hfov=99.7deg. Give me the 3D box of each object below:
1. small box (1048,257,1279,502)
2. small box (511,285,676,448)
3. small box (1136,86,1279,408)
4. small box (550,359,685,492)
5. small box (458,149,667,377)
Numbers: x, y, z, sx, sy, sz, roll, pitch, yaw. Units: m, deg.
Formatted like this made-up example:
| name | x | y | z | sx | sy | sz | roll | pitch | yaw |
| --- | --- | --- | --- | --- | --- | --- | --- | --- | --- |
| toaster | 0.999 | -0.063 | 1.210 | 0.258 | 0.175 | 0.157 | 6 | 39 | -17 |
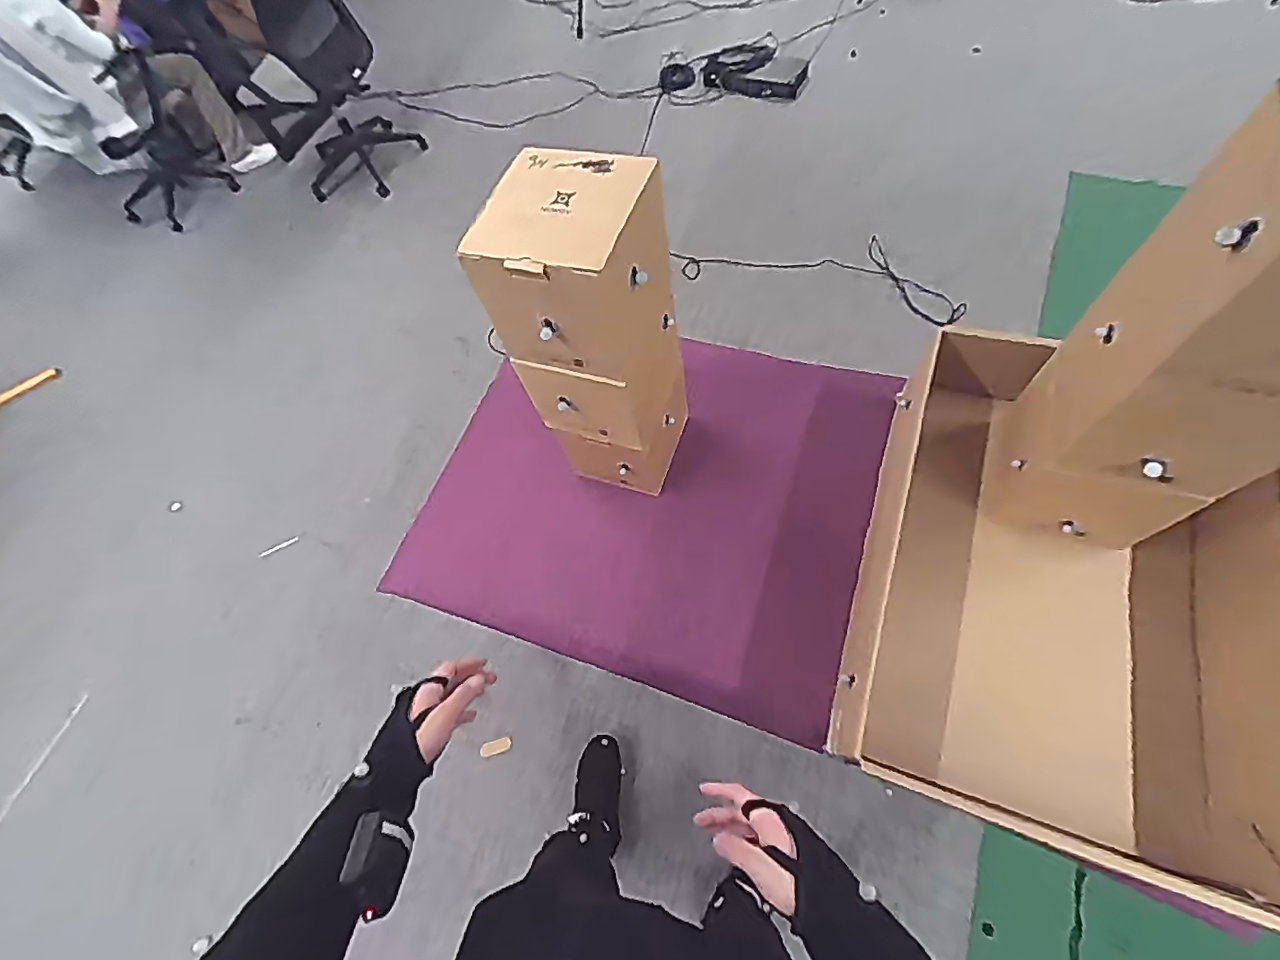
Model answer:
| name | x | y | z | sx | sy | sz | roll | pitch | yaw |
| --- | --- | --- | --- | --- | --- | --- | --- | --- | --- |
| small box | 0.568 | -0.101 | 0.574 | 0.168 | 0.176 | 0.179 | 14 | 68 | 17 |
| small box | -0.052 | -0.169 | 0.777 | 0.168 | 0.176 | 0.179 | 16 | 67 | 16 |
| small box | 0.540 | -0.170 | 0.426 | 0.168 | 0.176 | 0.179 | 15 | 68 | 17 |
| small box | -0.026 | -0.101 | 0.921 | 0.168 | 0.176 | 0.179 | 16 | 67 | 16 |
| small box | -0.072 | -0.246 | 0.633 | 0.168 | 0.176 | 0.179 | 15 | 67 | 15 |
